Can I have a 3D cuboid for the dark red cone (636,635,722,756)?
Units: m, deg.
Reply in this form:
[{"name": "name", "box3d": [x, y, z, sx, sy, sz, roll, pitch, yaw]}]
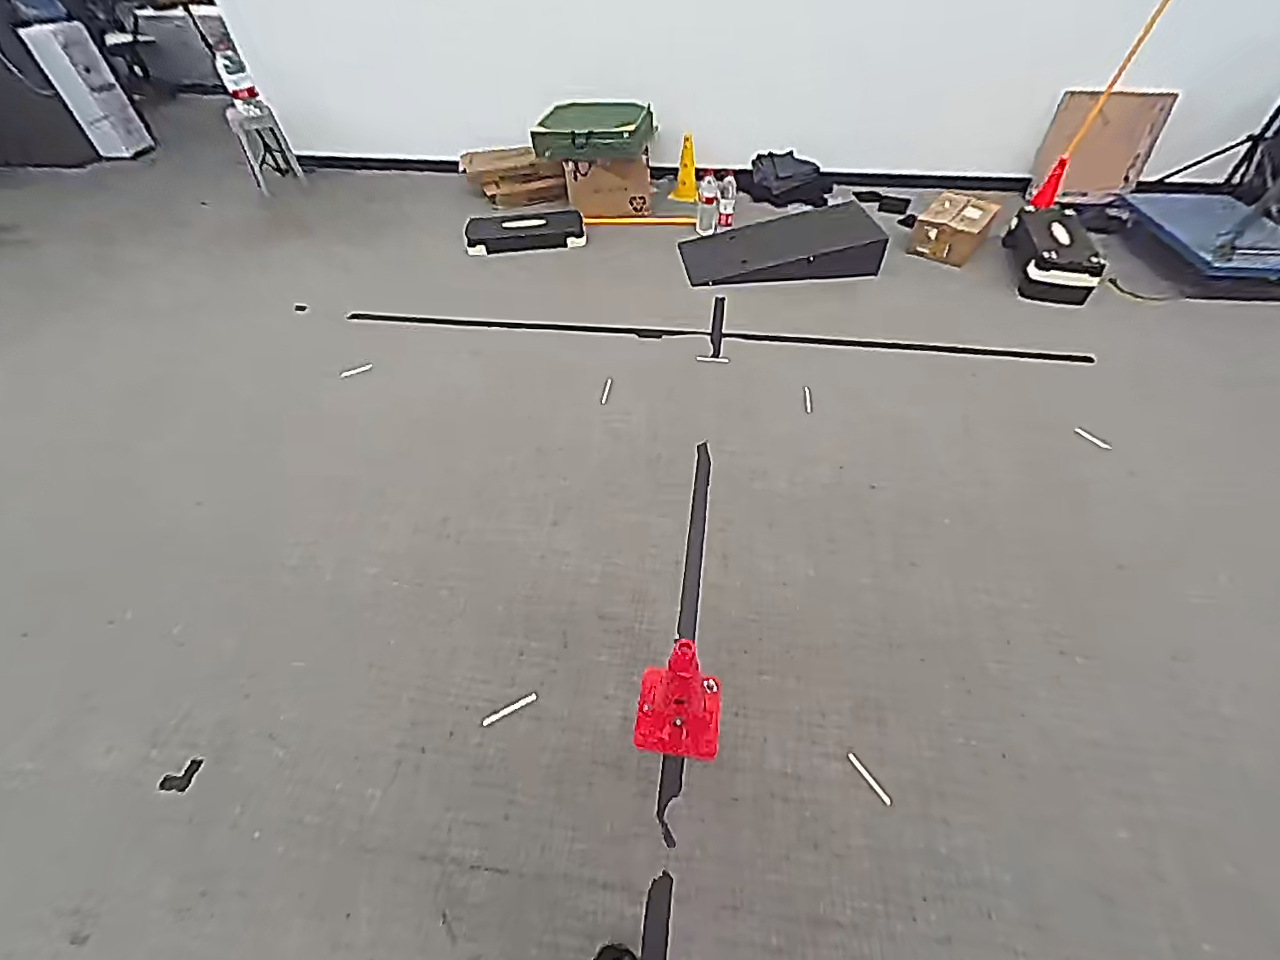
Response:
[{"name": "dark red cone", "box3d": [0.091, 0.441, 1.182, 0.201, 0.394, 0.202, 5, 48, 7]}]
